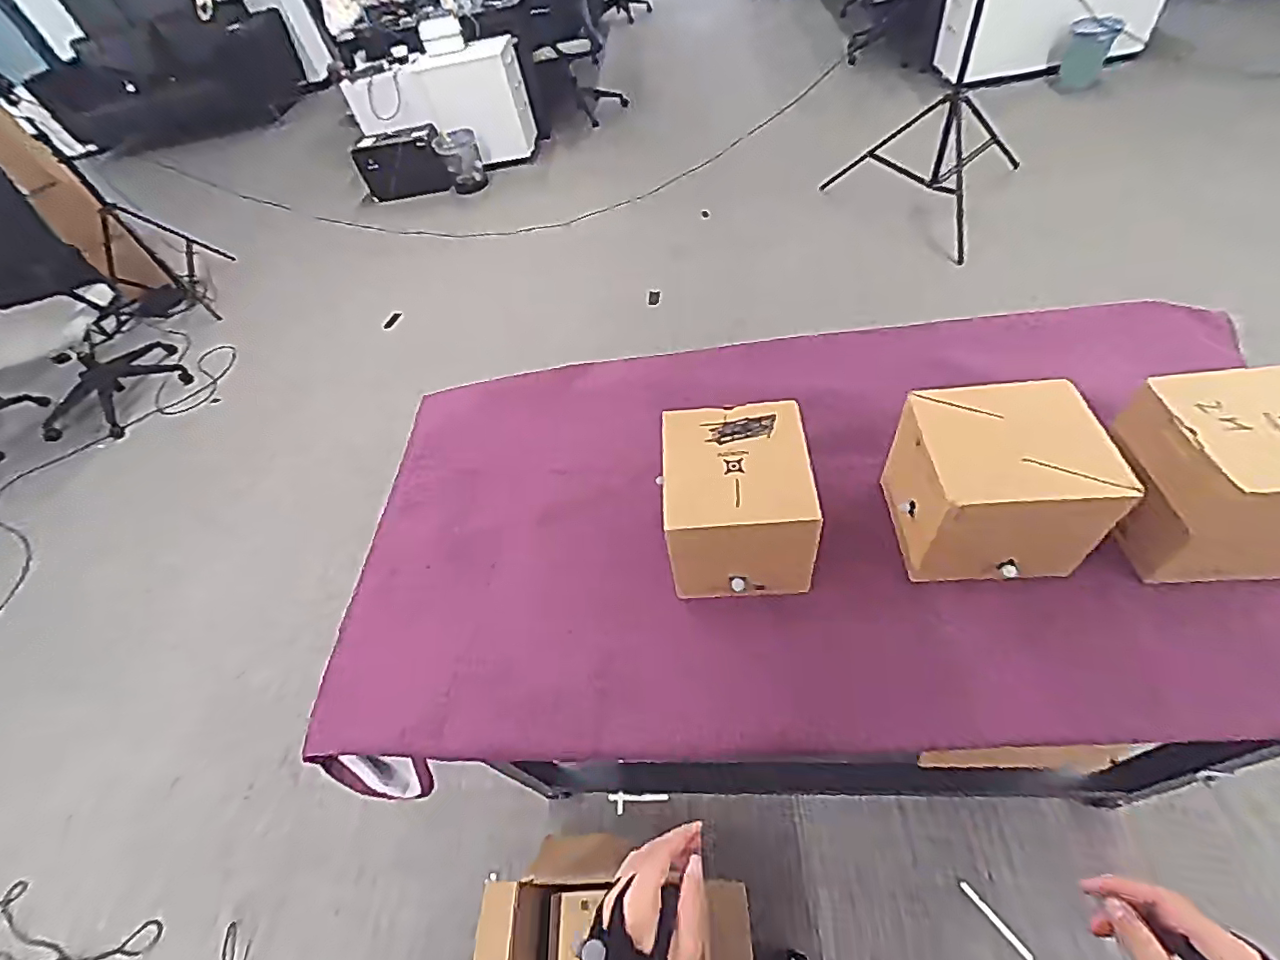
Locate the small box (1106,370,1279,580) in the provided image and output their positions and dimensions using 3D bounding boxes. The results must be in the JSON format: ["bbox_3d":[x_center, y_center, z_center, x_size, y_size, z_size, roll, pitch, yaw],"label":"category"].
[{"bbox_3d":[0.651,-0.001,0.598,0.179,0.176,0.168,-3,49,9],"label":"small box"}]

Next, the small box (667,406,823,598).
[{"bbox_3d":[0.124,0.031,0.683,0.168,0.176,0.179,-5,51,8],"label":"small box"}]

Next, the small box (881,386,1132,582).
[{"bbox_3d":[0.409,0.006,0.641,0.179,0.176,0.168,-4,50,9],"label":"small box"}]
